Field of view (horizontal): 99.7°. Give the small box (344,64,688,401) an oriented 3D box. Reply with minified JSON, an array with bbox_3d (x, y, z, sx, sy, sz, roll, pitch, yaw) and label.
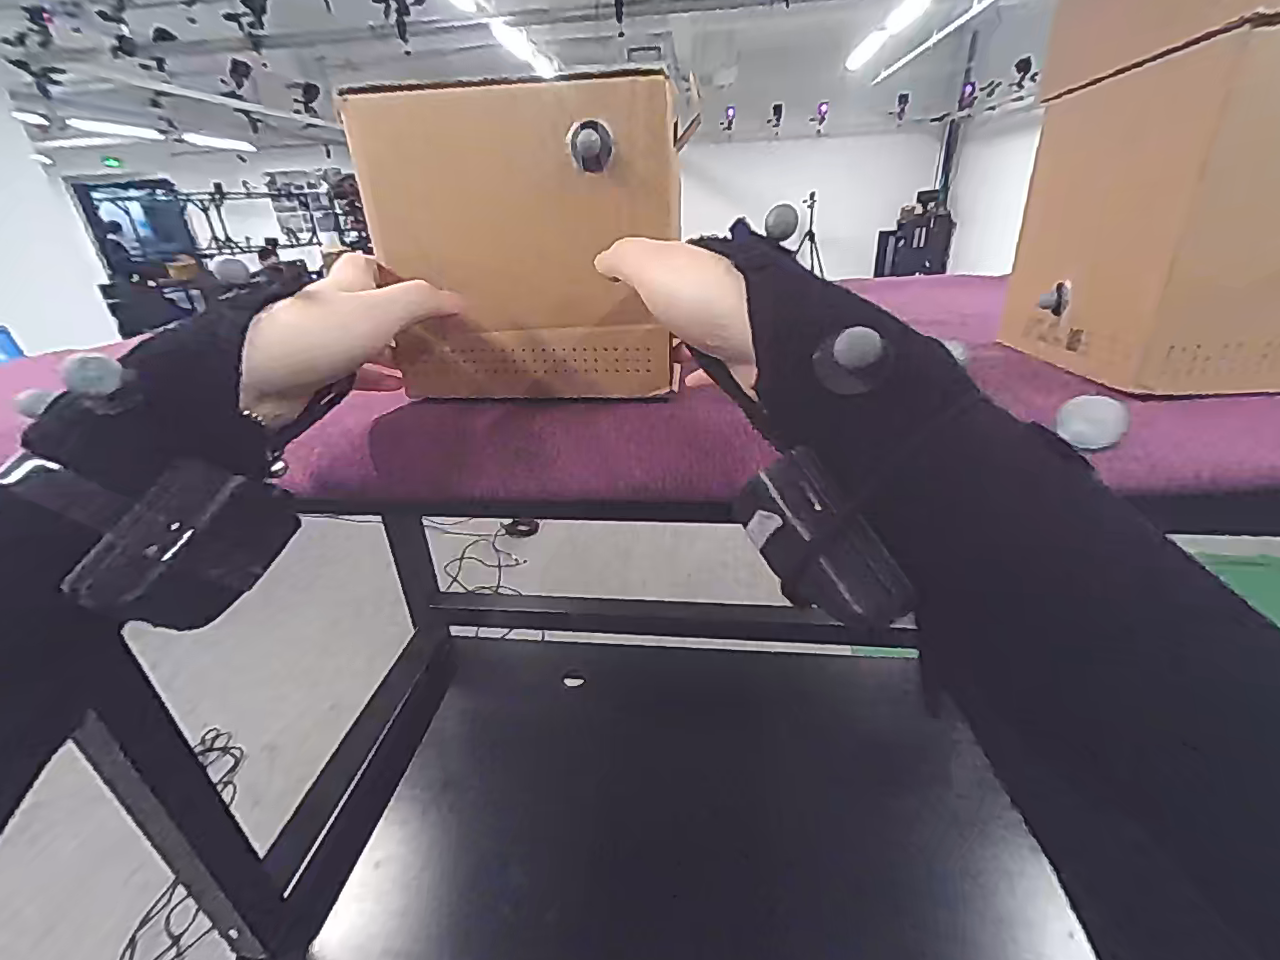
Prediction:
[{"bbox_3d":[-0.057,-0.155,0.371,0.179,0.176,0.168,1,26,5],"label":"small box"}]

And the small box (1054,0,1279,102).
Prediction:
[{"bbox_3d":[0.346,-0.303,0.256,0.168,0.176,0.179,0,25,9],"label":"small box"}]
